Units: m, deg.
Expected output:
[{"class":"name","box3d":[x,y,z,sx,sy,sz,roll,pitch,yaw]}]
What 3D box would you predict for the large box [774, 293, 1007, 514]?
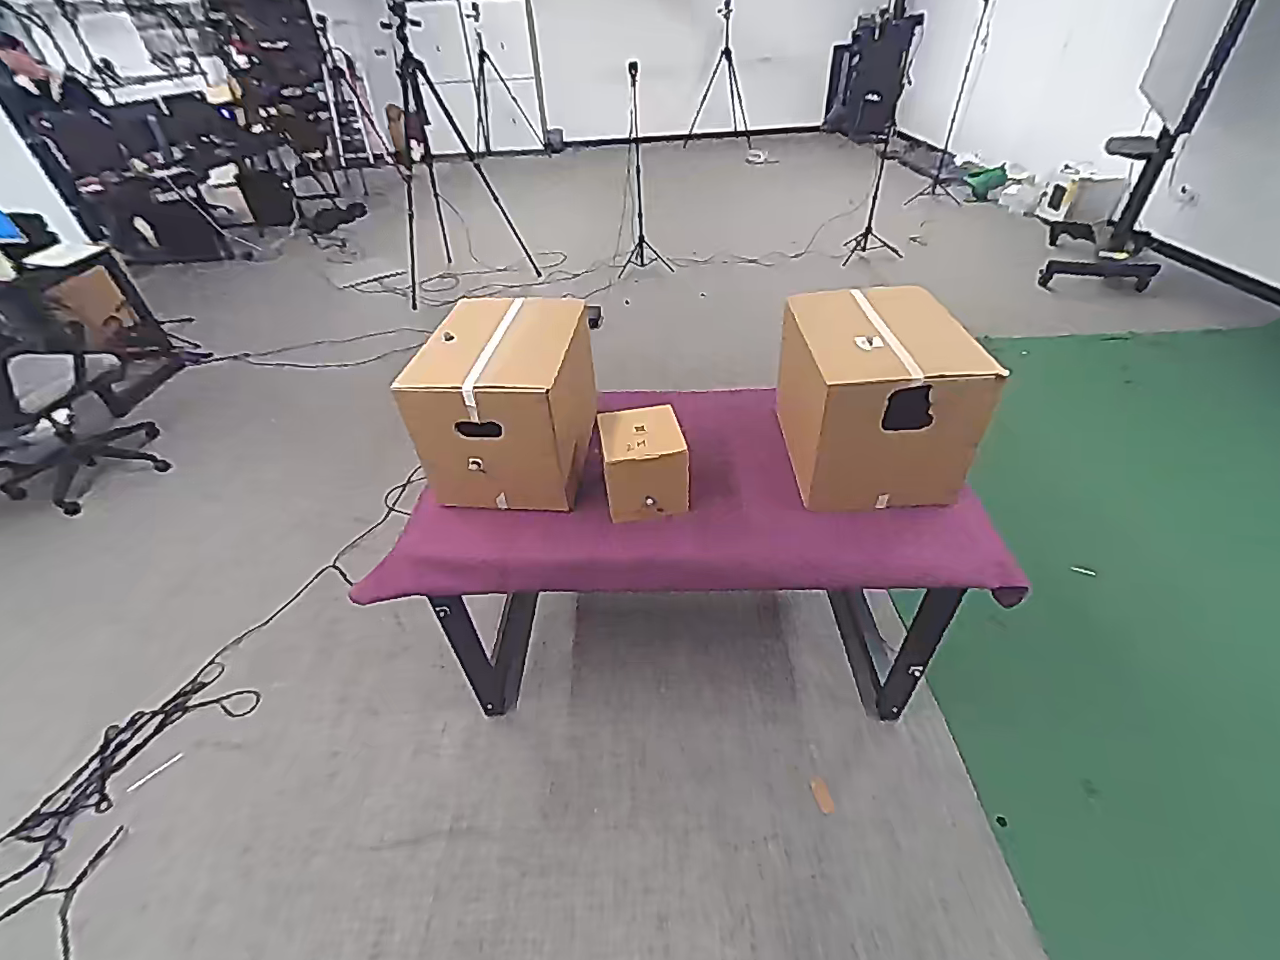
[{"class":"large box","box3d":[0.495,-0.177,1.188,0.320,0.320,0.408,-3,41,4]}]
